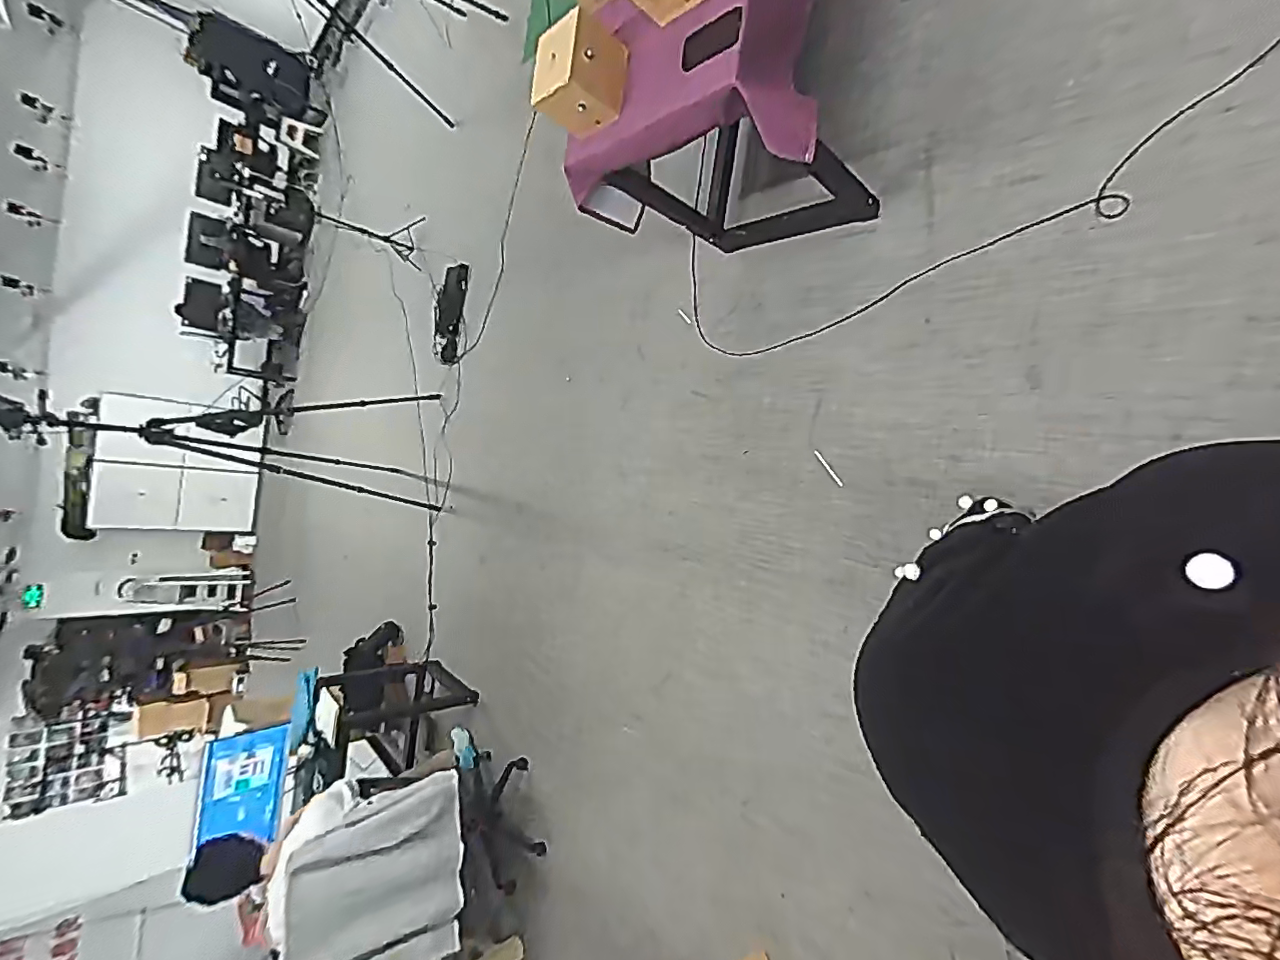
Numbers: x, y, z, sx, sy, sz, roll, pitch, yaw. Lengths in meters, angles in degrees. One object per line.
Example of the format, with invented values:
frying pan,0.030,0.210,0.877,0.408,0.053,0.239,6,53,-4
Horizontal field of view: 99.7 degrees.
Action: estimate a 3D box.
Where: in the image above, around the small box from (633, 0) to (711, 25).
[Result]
small box,0.069,-1.140,1.165,0.168,0.176,0.179,13,93,46
